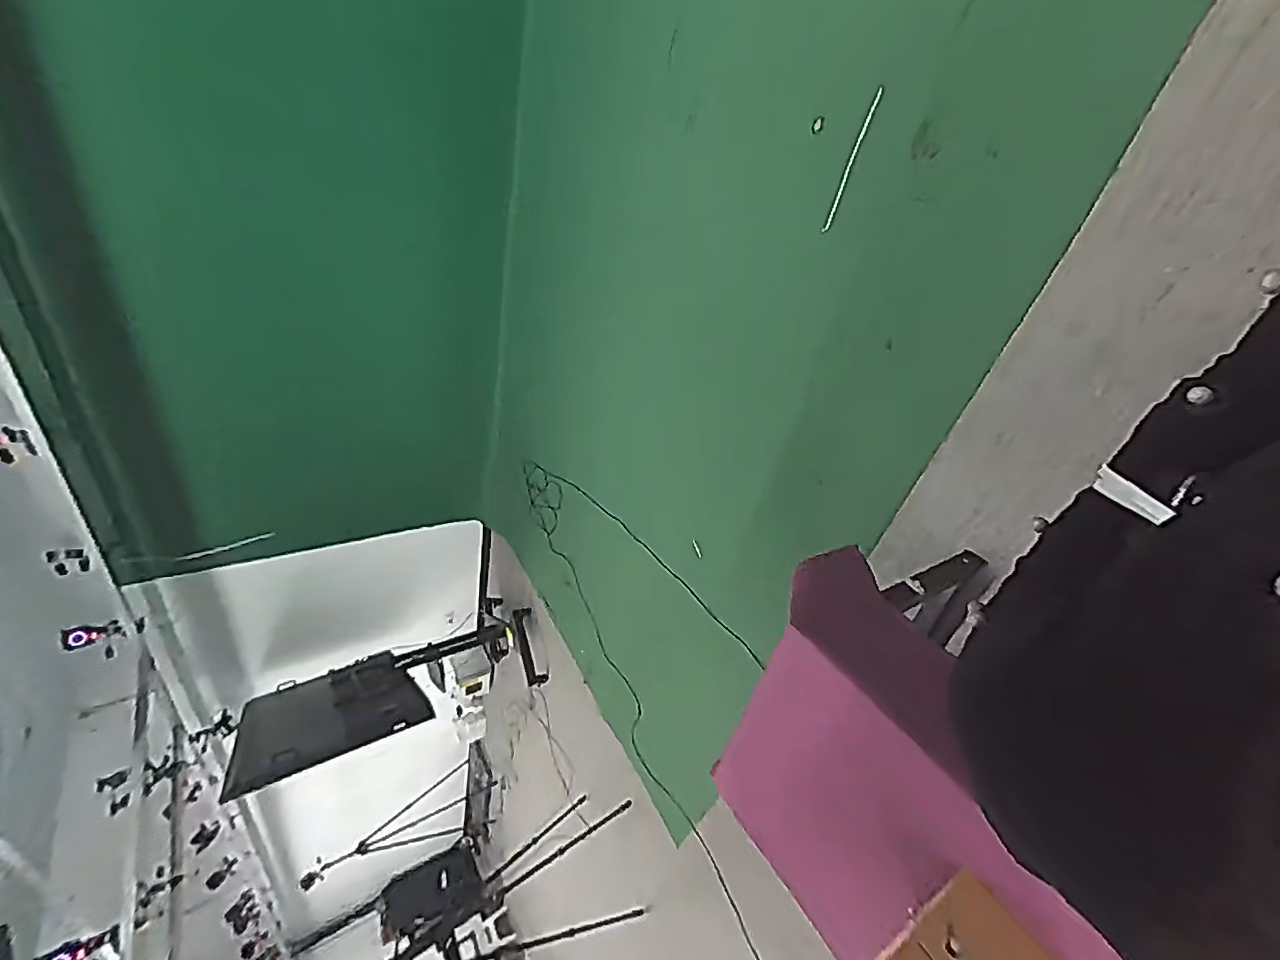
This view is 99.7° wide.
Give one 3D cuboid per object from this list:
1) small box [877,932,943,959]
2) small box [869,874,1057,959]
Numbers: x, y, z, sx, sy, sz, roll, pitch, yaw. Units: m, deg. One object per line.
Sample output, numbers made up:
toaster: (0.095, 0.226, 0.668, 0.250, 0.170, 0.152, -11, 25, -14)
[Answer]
small box: (0.357, 0.768, 0.722, 0.168, 0.176, 0.179, 43, 132, 41)
small box: (0.492, 0.738, 0.810, 0.179, 0.176, 0.168, 45, 135, 41)
